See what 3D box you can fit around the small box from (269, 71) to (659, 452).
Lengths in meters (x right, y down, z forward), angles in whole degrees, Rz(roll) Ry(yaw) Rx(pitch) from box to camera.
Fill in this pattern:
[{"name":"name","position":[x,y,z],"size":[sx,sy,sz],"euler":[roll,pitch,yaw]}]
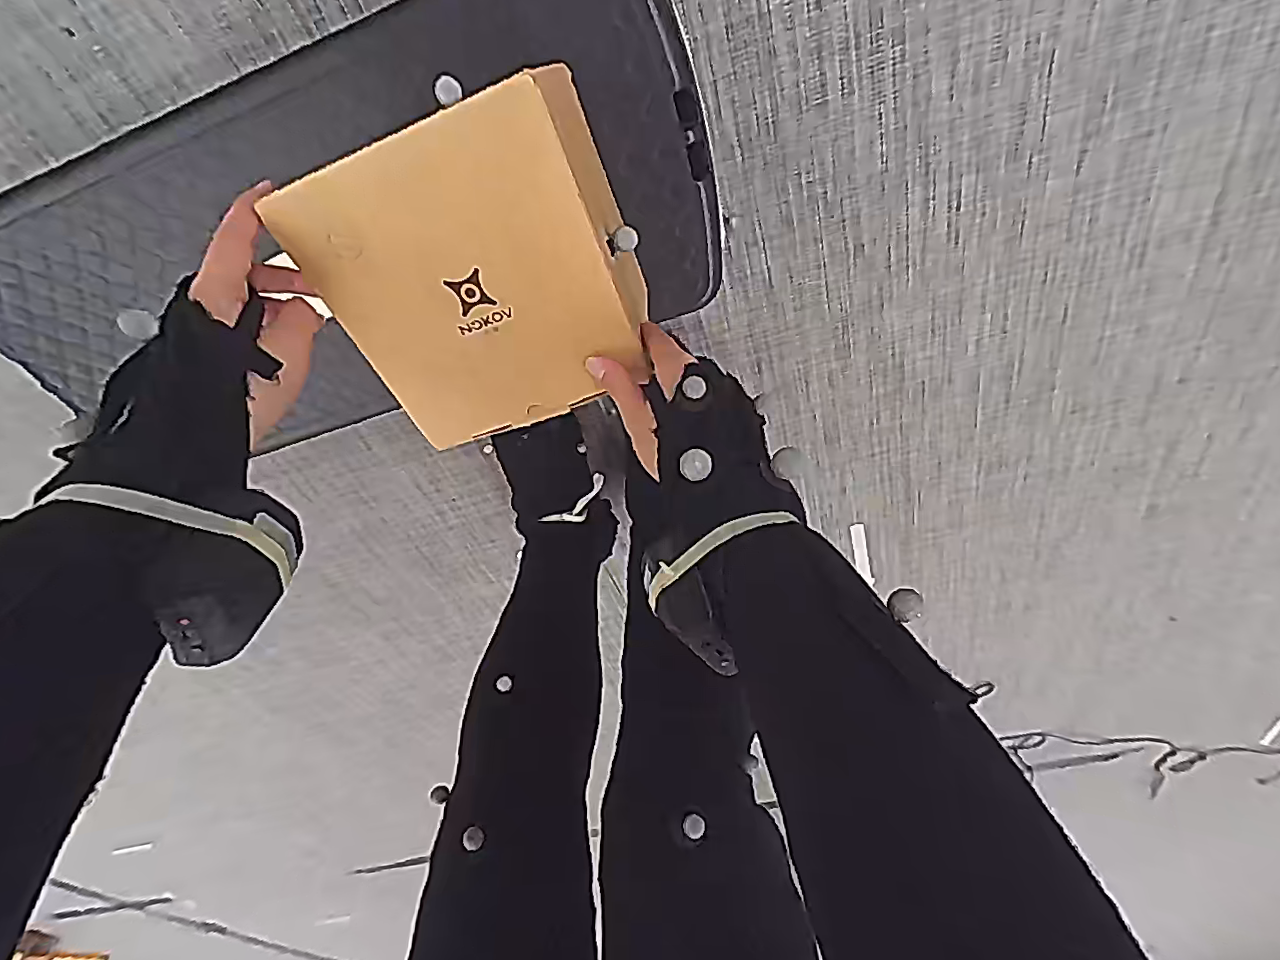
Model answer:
[{"name":"small box","position":[-0.095,-0.154,0.380],"size":[0.168,0.176,0.179],"euler":[-17,128,11]}]
